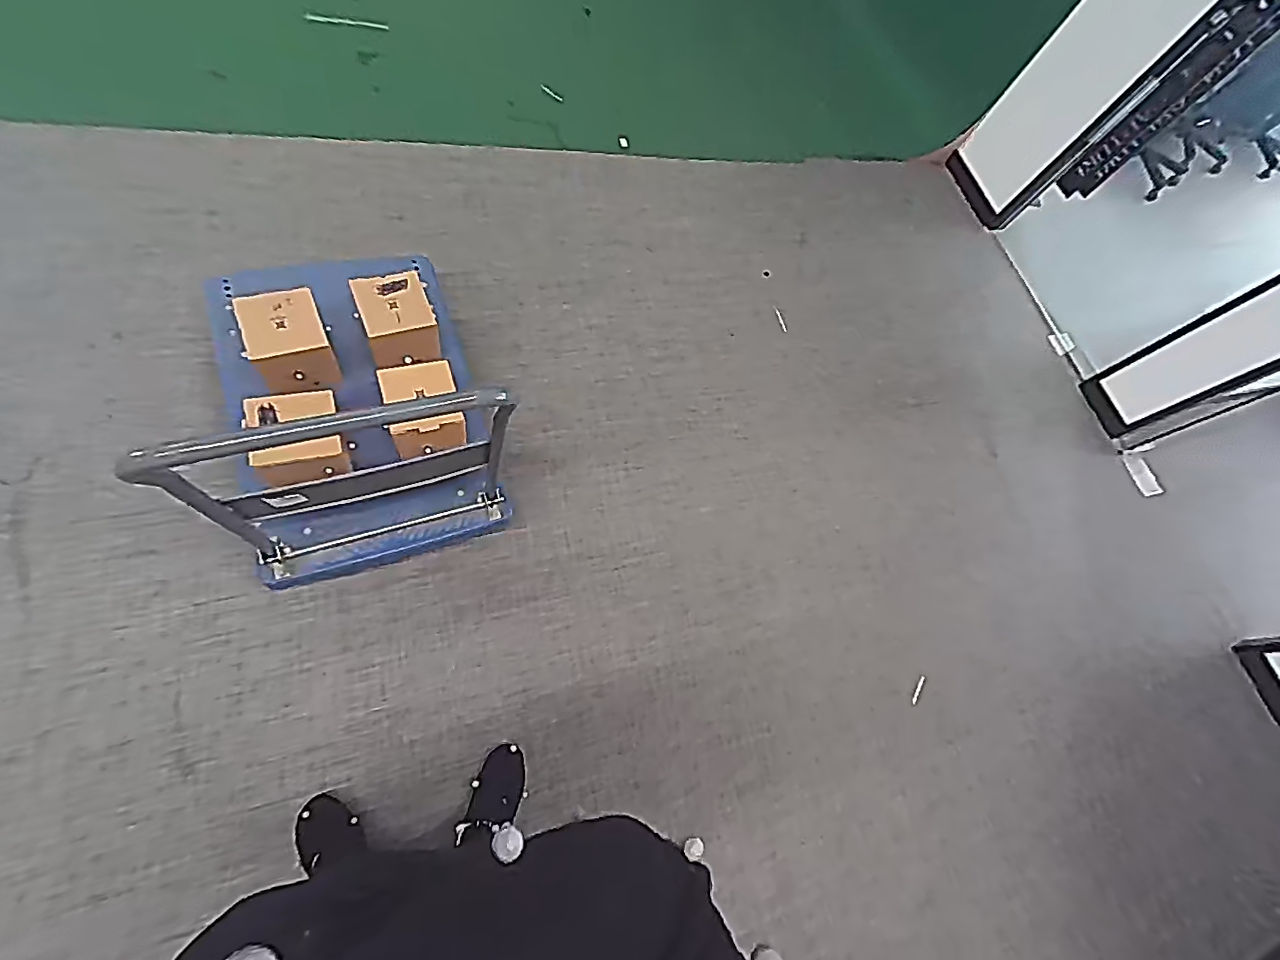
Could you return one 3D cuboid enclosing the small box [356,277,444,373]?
[{"bbox_3d":[-0.639,-0.408,1.451,0.168,0.176,0.179,-19,76,-21],"label":"small box"}]

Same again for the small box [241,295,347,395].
[{"bbox_3d":[-0.858,-0.330,1.356,0.168,0.176,0.179,-19,75,-23],"label":"small box"}]

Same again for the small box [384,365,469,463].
[{"bbox_3d":[-0.542,-0.166,1.381,0.168,0.176,0.179,-14,73,-21],"label":"small box"}]
